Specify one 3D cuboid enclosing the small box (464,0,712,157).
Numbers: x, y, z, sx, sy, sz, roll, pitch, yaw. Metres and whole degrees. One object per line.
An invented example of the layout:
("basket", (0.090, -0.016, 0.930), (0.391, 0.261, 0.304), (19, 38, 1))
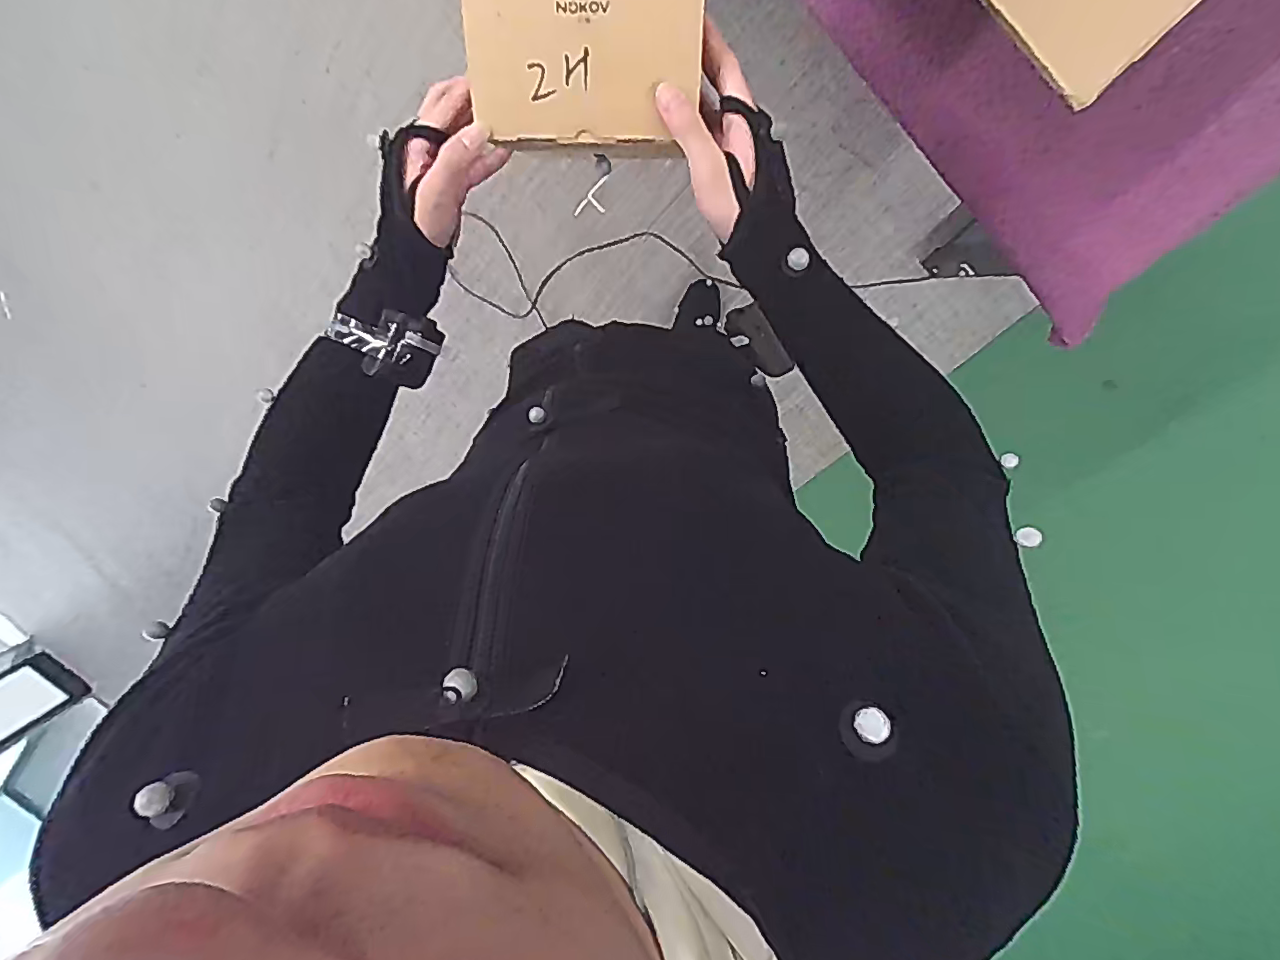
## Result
("small box", (-0.030, -0.362, 0.419), (0.168, 0.176, 0.179), (3, 118, 3))
